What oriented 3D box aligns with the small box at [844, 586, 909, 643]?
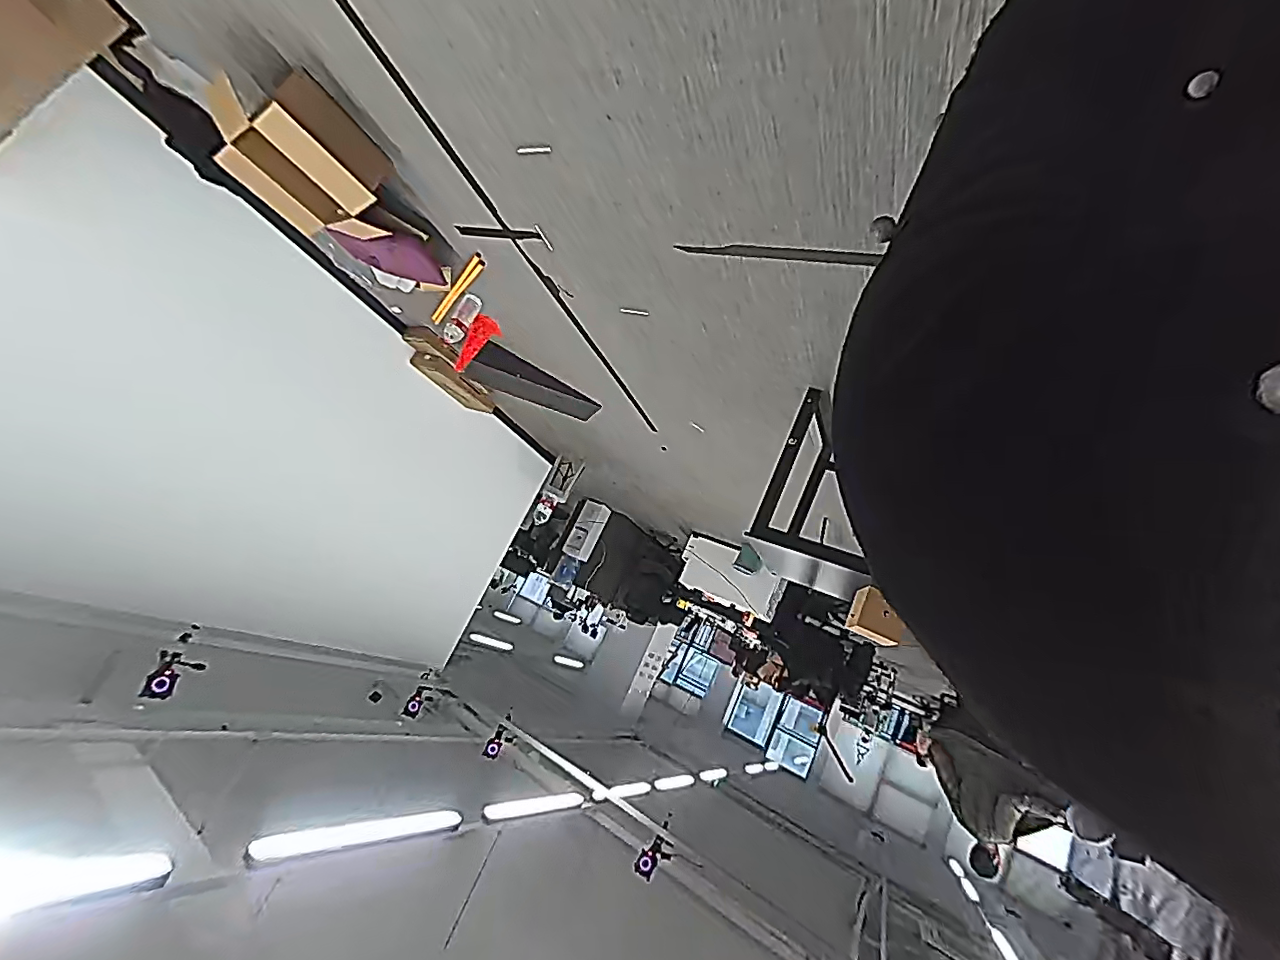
[{"bbox_3d":[0.927,0.524,2.115,0.168,0.176,0.179,23,166,13],"label":"small box"}]
